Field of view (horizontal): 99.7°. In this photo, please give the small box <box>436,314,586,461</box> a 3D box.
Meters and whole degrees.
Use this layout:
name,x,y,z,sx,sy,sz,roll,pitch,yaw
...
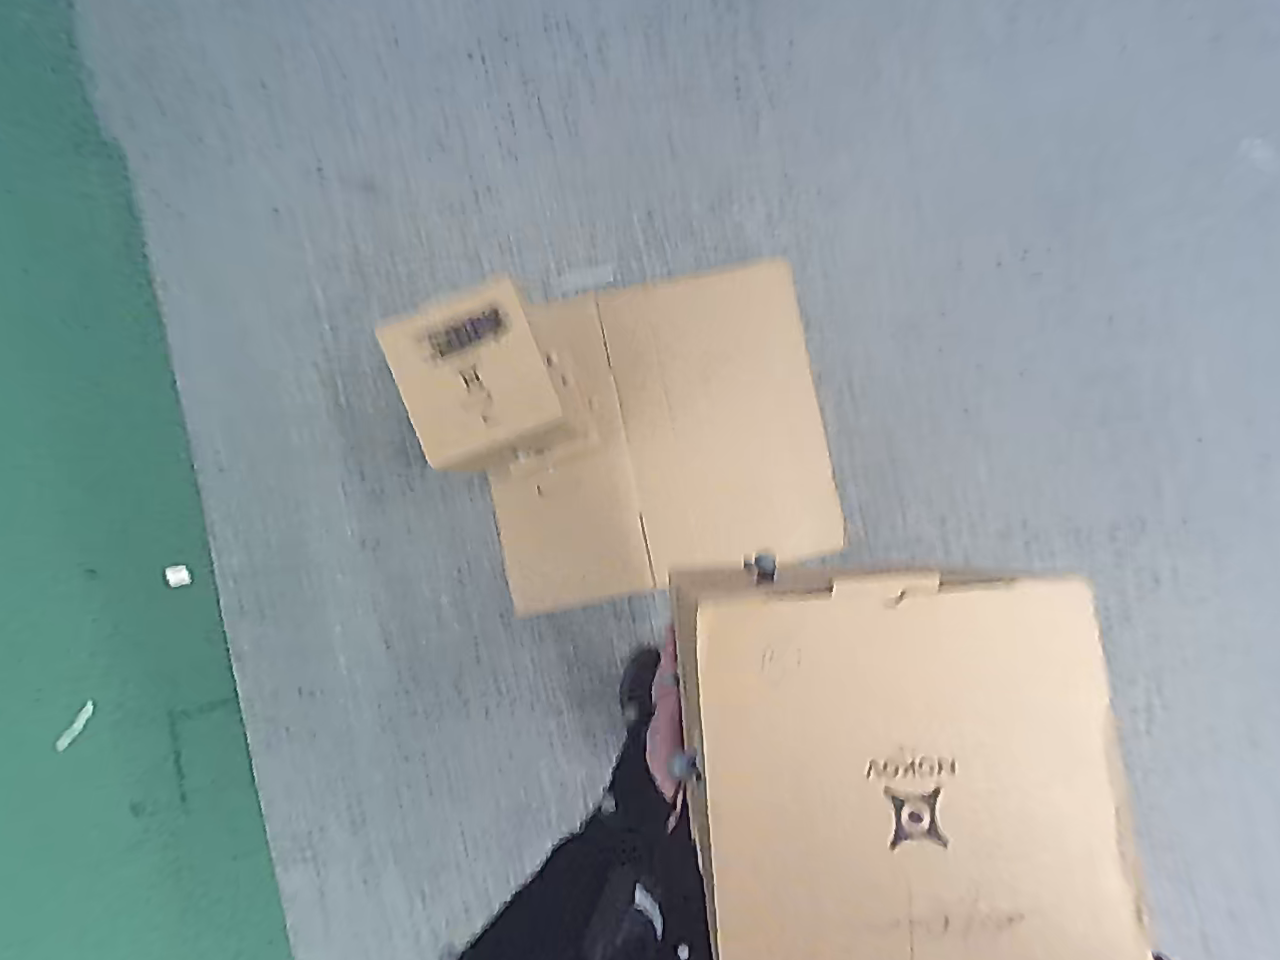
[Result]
name,x,y,z,sx,sy,sz,roll,pitch,yaw
small box,-0.193,-0.134,0.861,0.168,0.176,0.179,-19,89,-1

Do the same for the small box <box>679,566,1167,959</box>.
name,x,y,z,sx,sy,sz,roll,pitch,yaw
small box,0.109,0.136,0.285,0.168,0.176,0.179,-4,83,3
